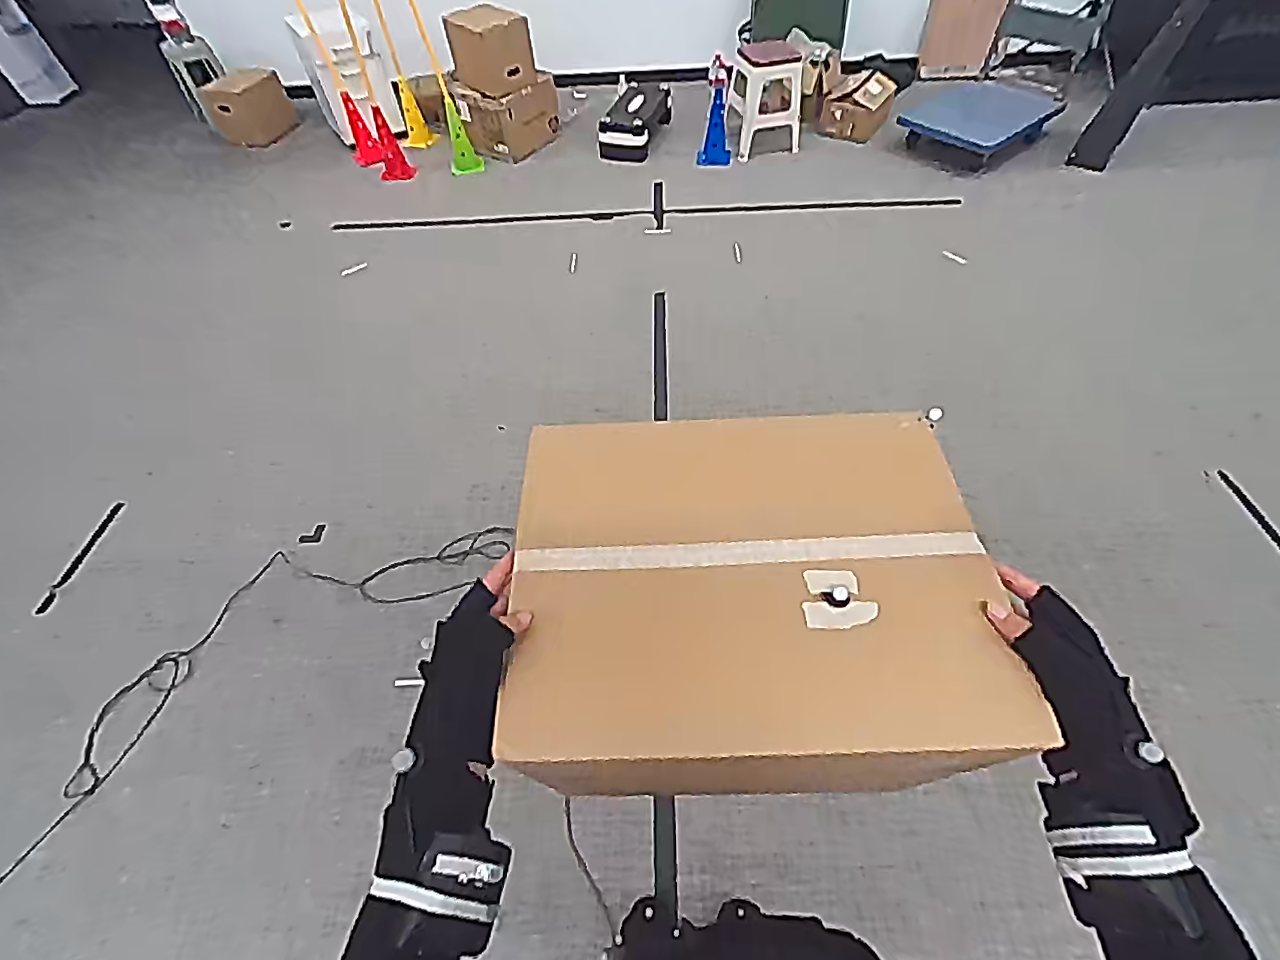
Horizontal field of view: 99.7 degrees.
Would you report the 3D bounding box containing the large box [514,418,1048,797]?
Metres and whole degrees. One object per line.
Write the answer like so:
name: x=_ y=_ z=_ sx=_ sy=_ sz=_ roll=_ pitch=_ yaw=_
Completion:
large box: x=0.101 y=0.154 z=0.601 sx=0.408 sy=0.320 sz=0.320 roll=-2 pitch=56 yaw=1
